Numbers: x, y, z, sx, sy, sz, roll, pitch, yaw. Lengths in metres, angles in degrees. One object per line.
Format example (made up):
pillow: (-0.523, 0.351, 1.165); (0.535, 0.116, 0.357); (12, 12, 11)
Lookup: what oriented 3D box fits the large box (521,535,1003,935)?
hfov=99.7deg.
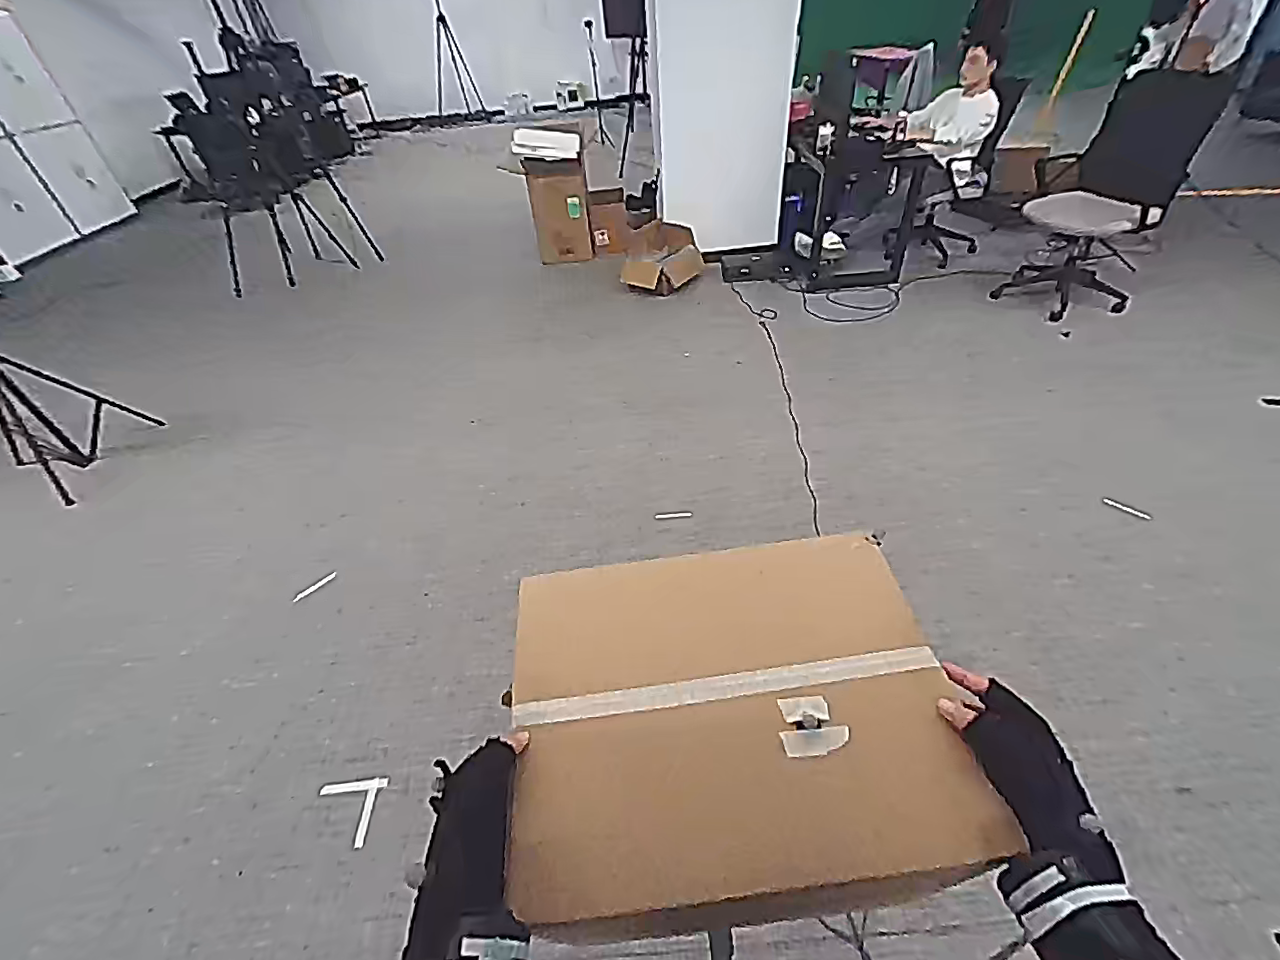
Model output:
large box: (0.094, 0.303, 0.641); (0.408, 0.320, 0.320); (-7, 48, -1)
